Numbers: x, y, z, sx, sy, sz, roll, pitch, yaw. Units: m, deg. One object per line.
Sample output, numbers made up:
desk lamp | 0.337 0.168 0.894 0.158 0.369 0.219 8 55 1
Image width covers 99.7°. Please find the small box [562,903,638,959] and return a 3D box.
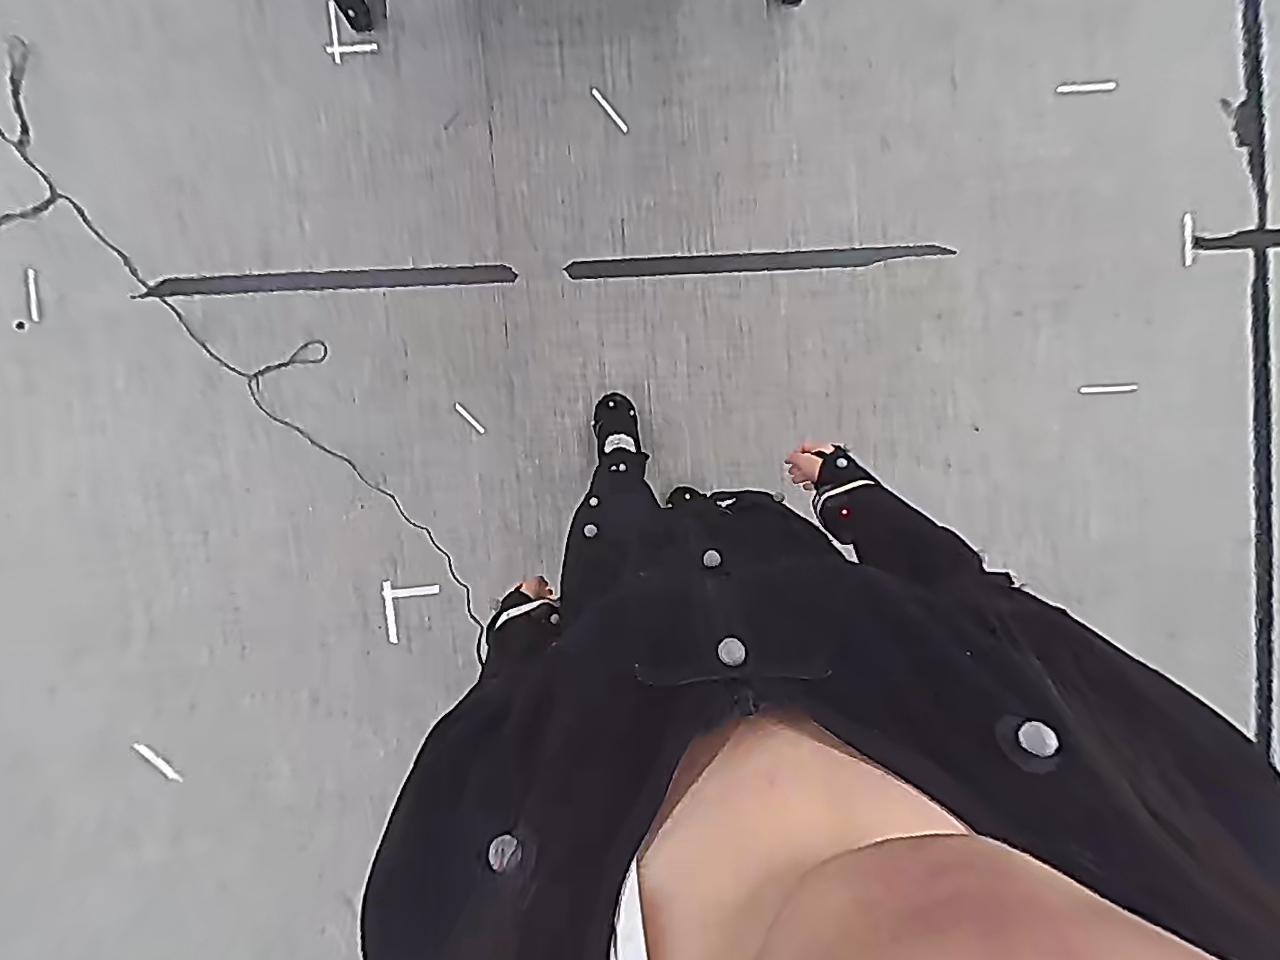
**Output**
small box | -0.094 1.167 1.307 0.168 0.176 0.179 -6 93 1

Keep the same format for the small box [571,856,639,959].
small box | -0.091 1.159 1.468 0.168 0.176 0.179 -5 93 1
